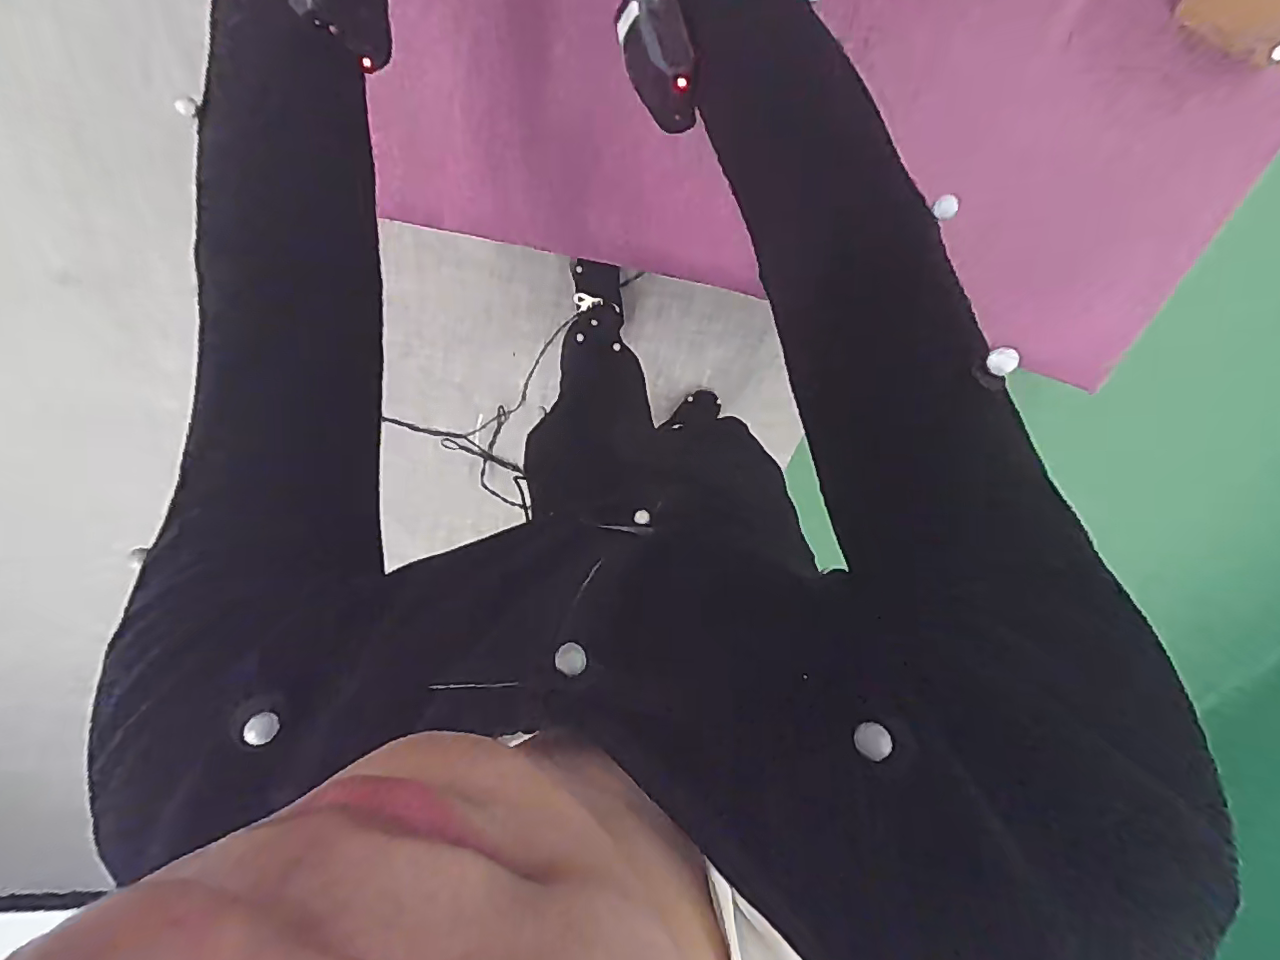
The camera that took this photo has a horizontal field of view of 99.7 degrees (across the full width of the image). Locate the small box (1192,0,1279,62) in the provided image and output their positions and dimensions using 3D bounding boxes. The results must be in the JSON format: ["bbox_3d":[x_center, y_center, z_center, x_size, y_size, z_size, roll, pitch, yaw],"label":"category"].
[{"bbox_3d":[0.693,-0.521,0.507,0.168,0.176,0.179,10,125,-14],"label":"small box"}]
